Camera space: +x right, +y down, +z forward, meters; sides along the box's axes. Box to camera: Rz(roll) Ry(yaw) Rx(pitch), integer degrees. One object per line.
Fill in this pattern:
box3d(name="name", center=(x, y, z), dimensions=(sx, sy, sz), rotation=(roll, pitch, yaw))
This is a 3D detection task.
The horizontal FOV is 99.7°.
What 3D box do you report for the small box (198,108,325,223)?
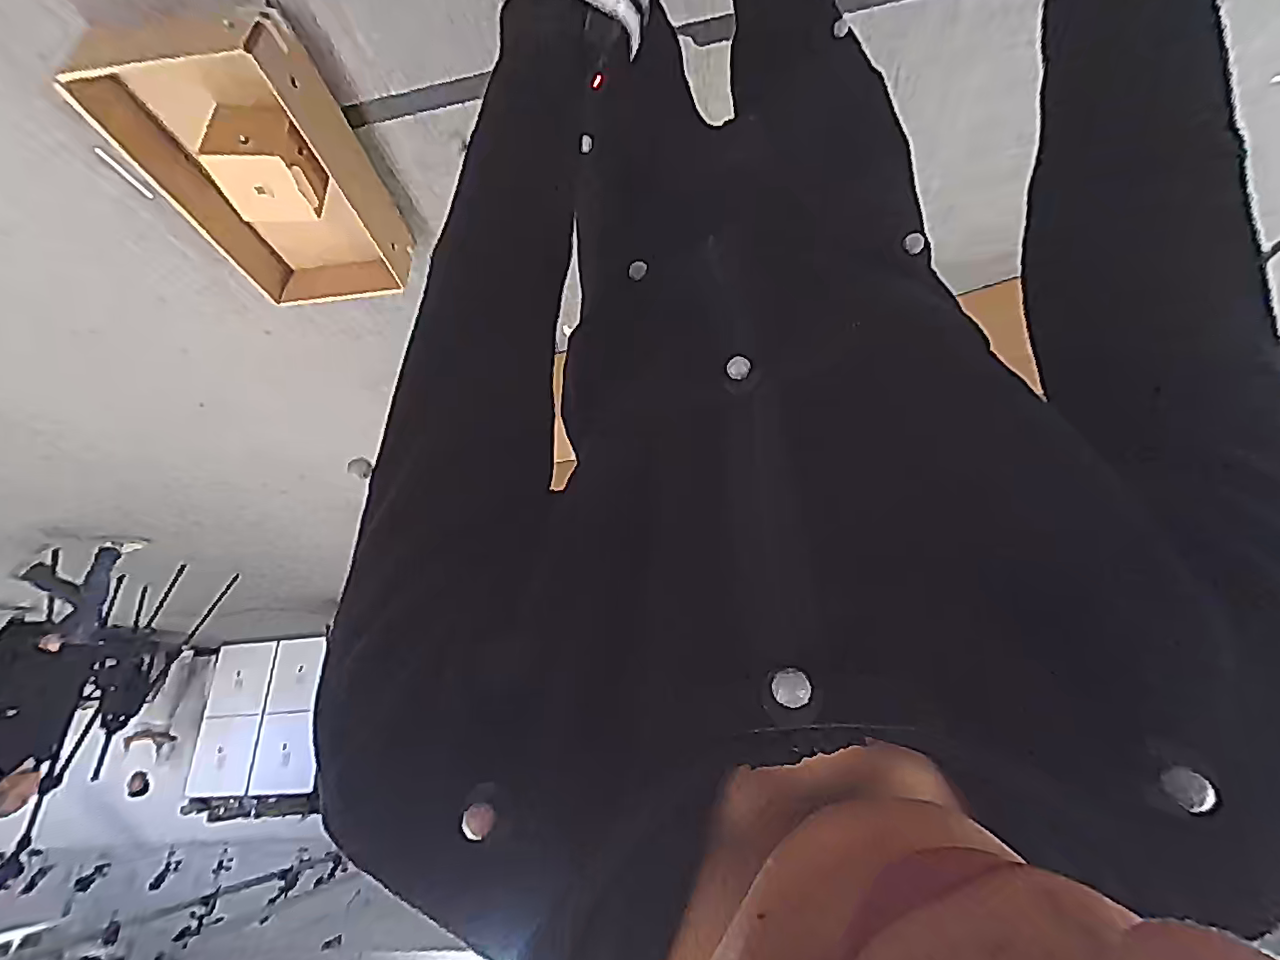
box3d(name="small box", center=(-0.844, -0.713, 1.229), dimensions=(0.179, 0.176, 0.168), rotation=(-2, 156, -4))
